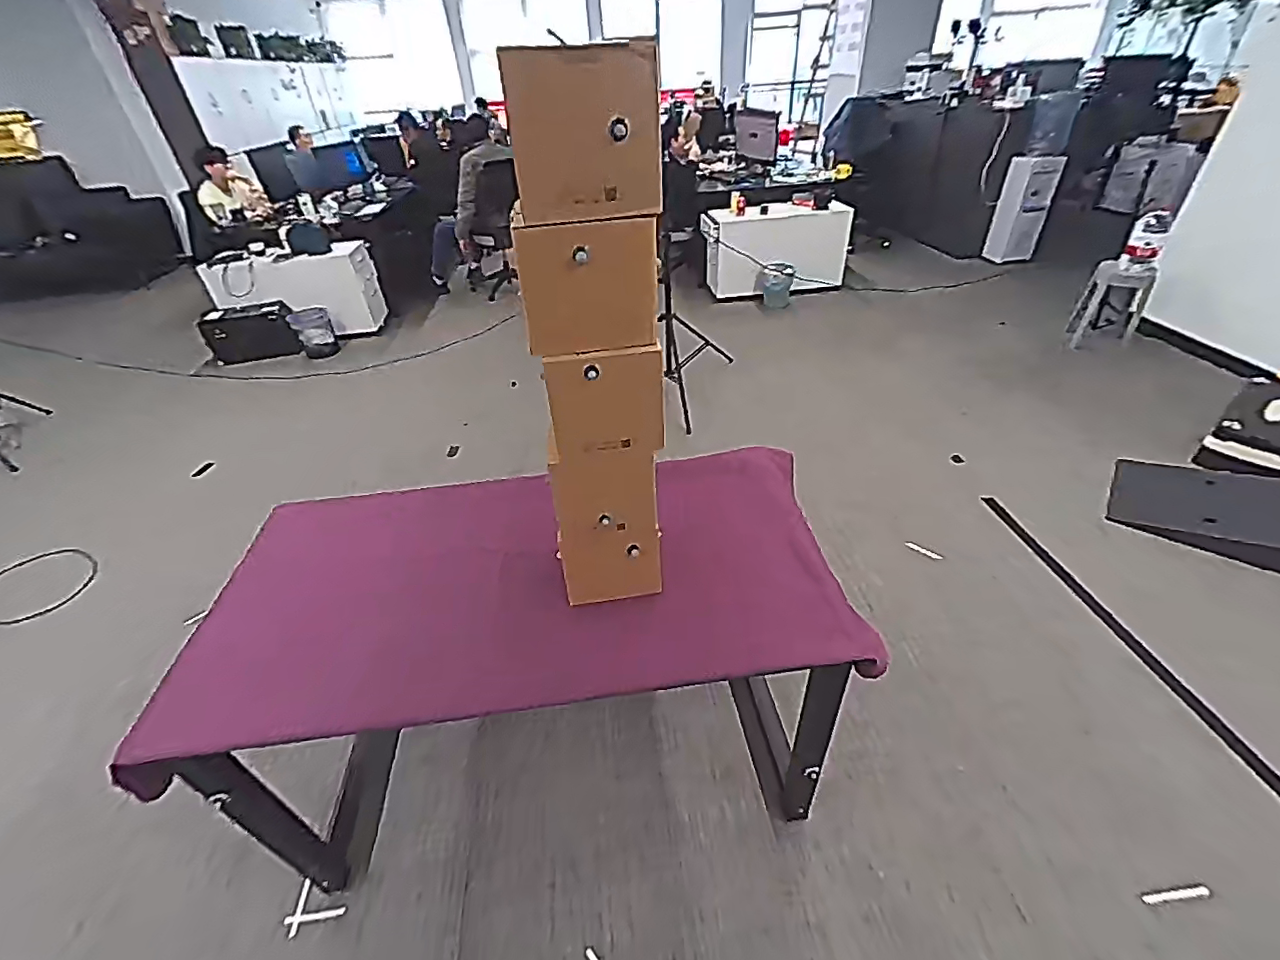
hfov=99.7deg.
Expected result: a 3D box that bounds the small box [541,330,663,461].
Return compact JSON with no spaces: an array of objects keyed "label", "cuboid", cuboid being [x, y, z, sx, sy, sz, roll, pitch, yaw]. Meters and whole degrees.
[{"label":"small box","cuboid":[-0.059,-0.150,0.842,0.168,0.176,0.179,-8,37,-5]}]

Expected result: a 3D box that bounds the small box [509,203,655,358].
[{"label":"small box","cuboid":[-0.076,-0.286,0.753,0.179,0.176,0.168,-8,38,-5]}]

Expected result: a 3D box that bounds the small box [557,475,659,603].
[{"label":"small box","cuboid":[-0.060,0.113,1.037,0.179,0.176,0.168,-8,37,-4]}]

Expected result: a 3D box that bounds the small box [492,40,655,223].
[{"label":"small box","cuboid":[-0.077,-0.418,0.658,0.168,0.176,0.179,-8,36,-7]}]
